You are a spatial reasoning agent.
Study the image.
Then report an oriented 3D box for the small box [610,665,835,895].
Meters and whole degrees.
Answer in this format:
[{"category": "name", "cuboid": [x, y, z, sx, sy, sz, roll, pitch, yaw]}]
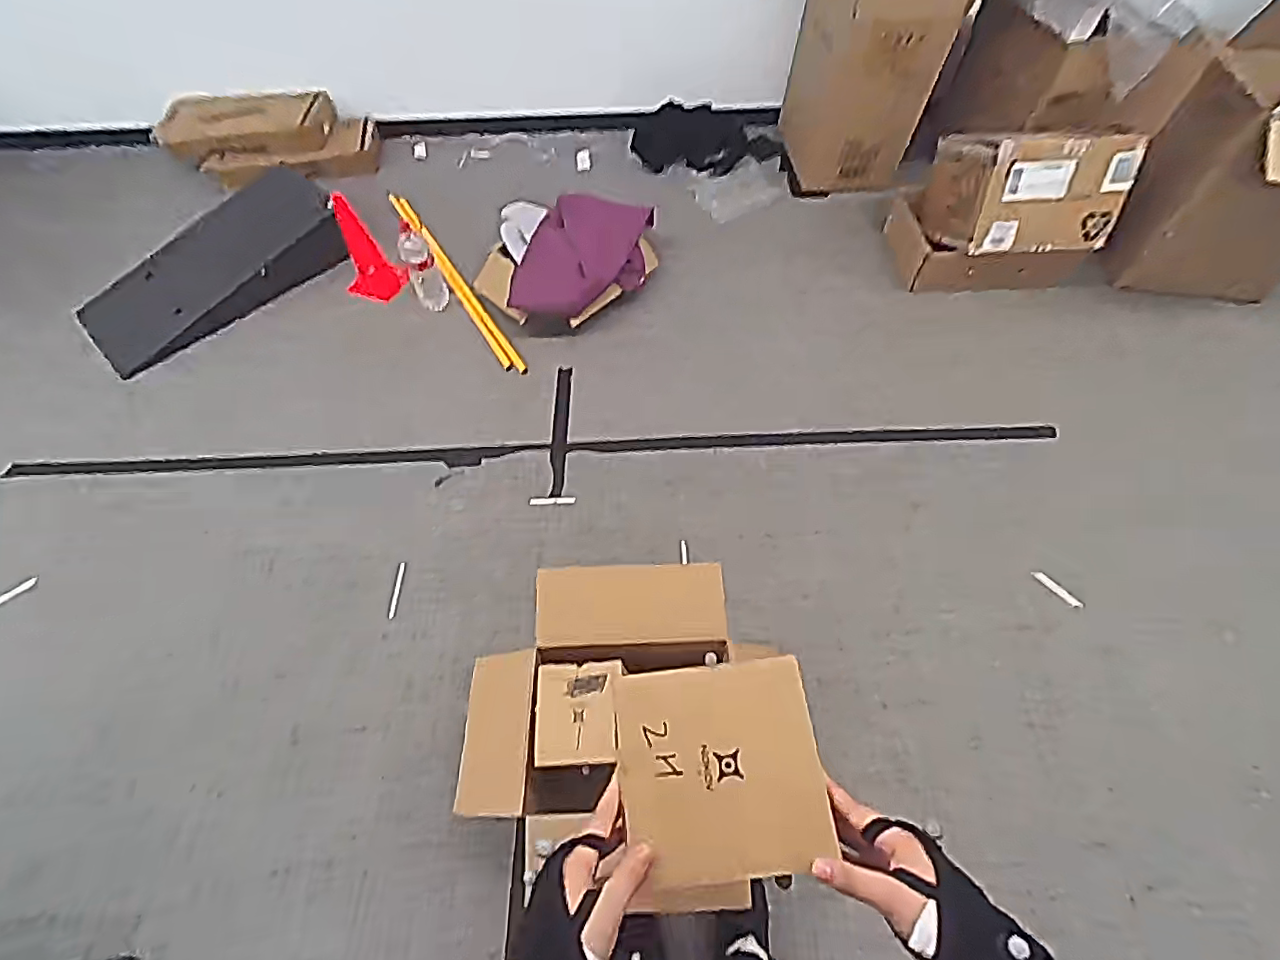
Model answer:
[{"category": "small box", "cuboid": [0.071, 0.288, 0.544, 0.179, 0.176, 0.168, -8, 64, 2]}]
